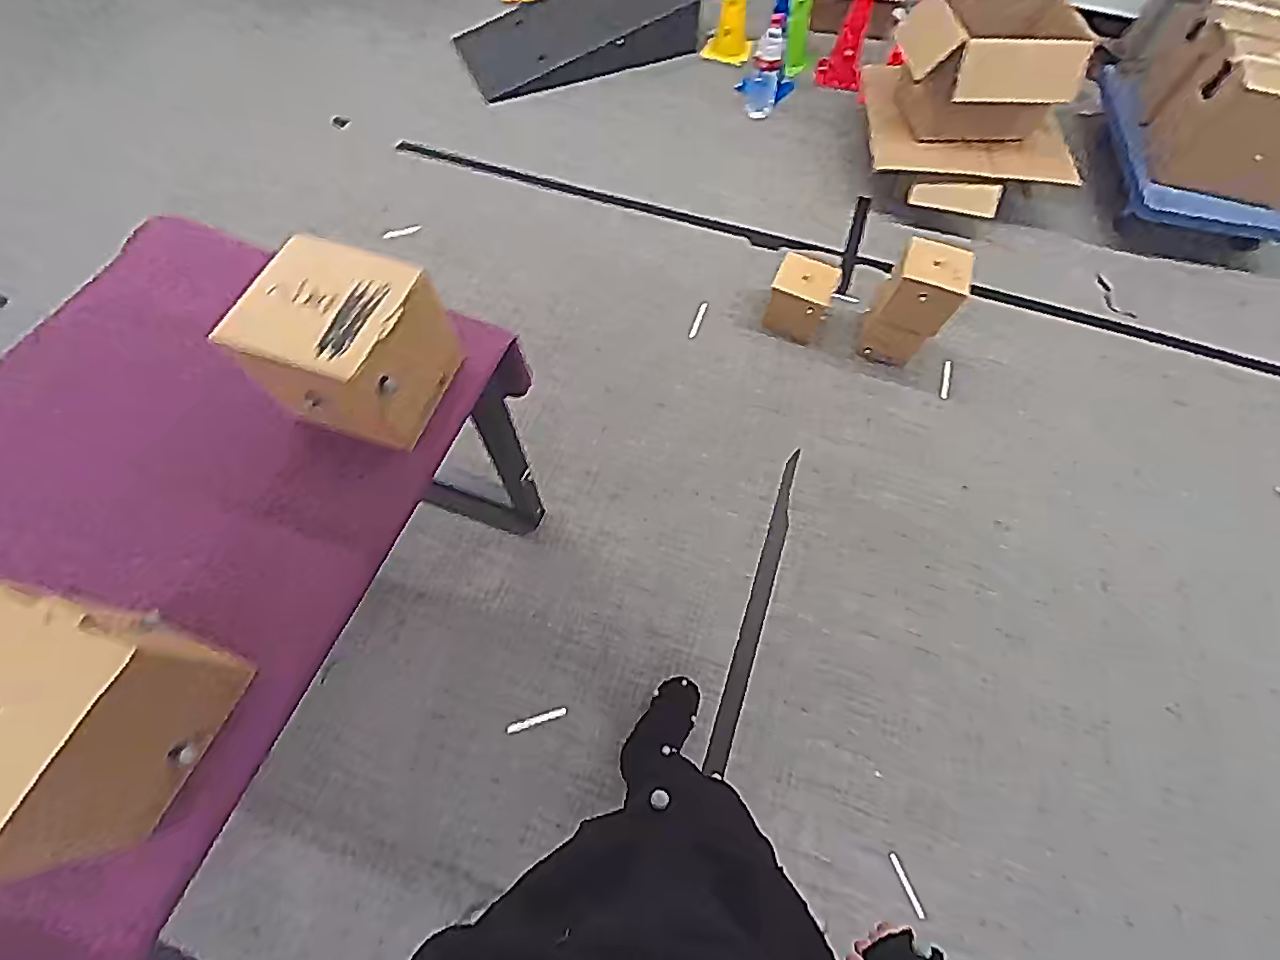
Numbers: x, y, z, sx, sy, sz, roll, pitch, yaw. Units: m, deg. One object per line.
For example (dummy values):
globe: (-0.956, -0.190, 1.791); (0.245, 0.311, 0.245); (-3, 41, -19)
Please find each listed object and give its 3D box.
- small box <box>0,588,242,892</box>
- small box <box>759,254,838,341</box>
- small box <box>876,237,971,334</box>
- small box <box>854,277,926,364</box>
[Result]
small box: (-0.512, 0.224, 0.486); (0.168, 0.176, 0.179); (20, 65, 6)
small box: (0.494, -0.570, 1.706); (0.179, 0.176, 0.168); (23, 66, 8)
small box: (0.791, -0.542, 1.522); (0.179, 0.176, 0.168); (20, 66, 6)
small box: (0.785, -0.489, 1.679); (0.168, 0.176, 0.179); (18, 65, 5)
